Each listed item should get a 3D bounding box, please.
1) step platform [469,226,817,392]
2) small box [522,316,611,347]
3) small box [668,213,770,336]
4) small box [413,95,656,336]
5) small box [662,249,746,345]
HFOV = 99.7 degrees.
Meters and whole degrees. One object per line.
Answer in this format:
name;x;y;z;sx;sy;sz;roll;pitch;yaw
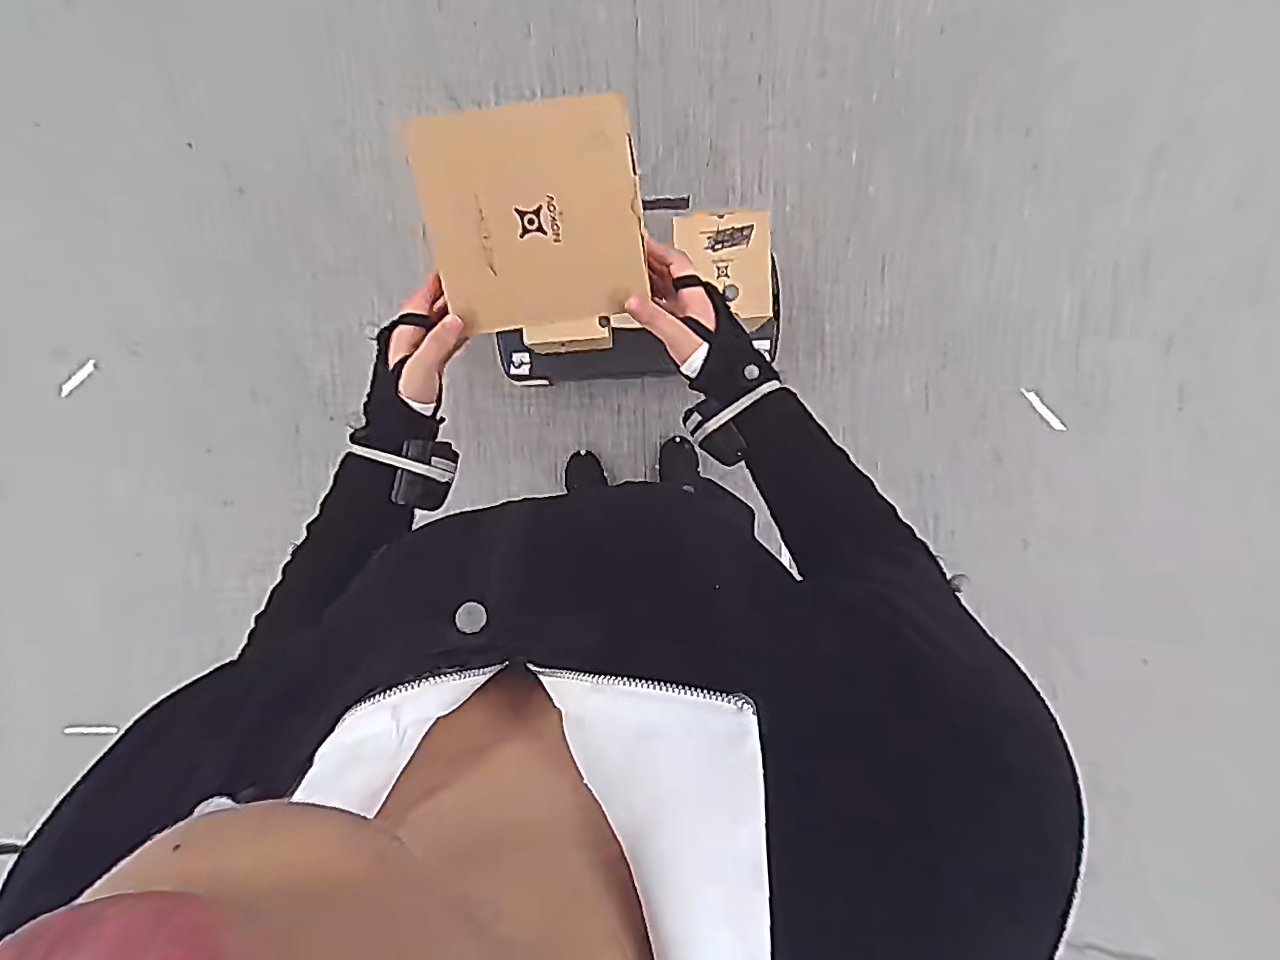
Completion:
step platform;0.003;-0.344;1.143;0.684;0.204;0.286;-3;96;0
small box;-0.158;-0.376;1.176;0.179;0.176;0.168;-4;97;1
small box;0.140;-0.375;1.009;0.168;0.176;0.179;-4;97;1
small box;-0.087;-0.242;0.523;0.179;0.176;0.168;-9;110;0
small box;0.132;-0.390;1.172;0.168;0.176;0.179;-3;97;1
